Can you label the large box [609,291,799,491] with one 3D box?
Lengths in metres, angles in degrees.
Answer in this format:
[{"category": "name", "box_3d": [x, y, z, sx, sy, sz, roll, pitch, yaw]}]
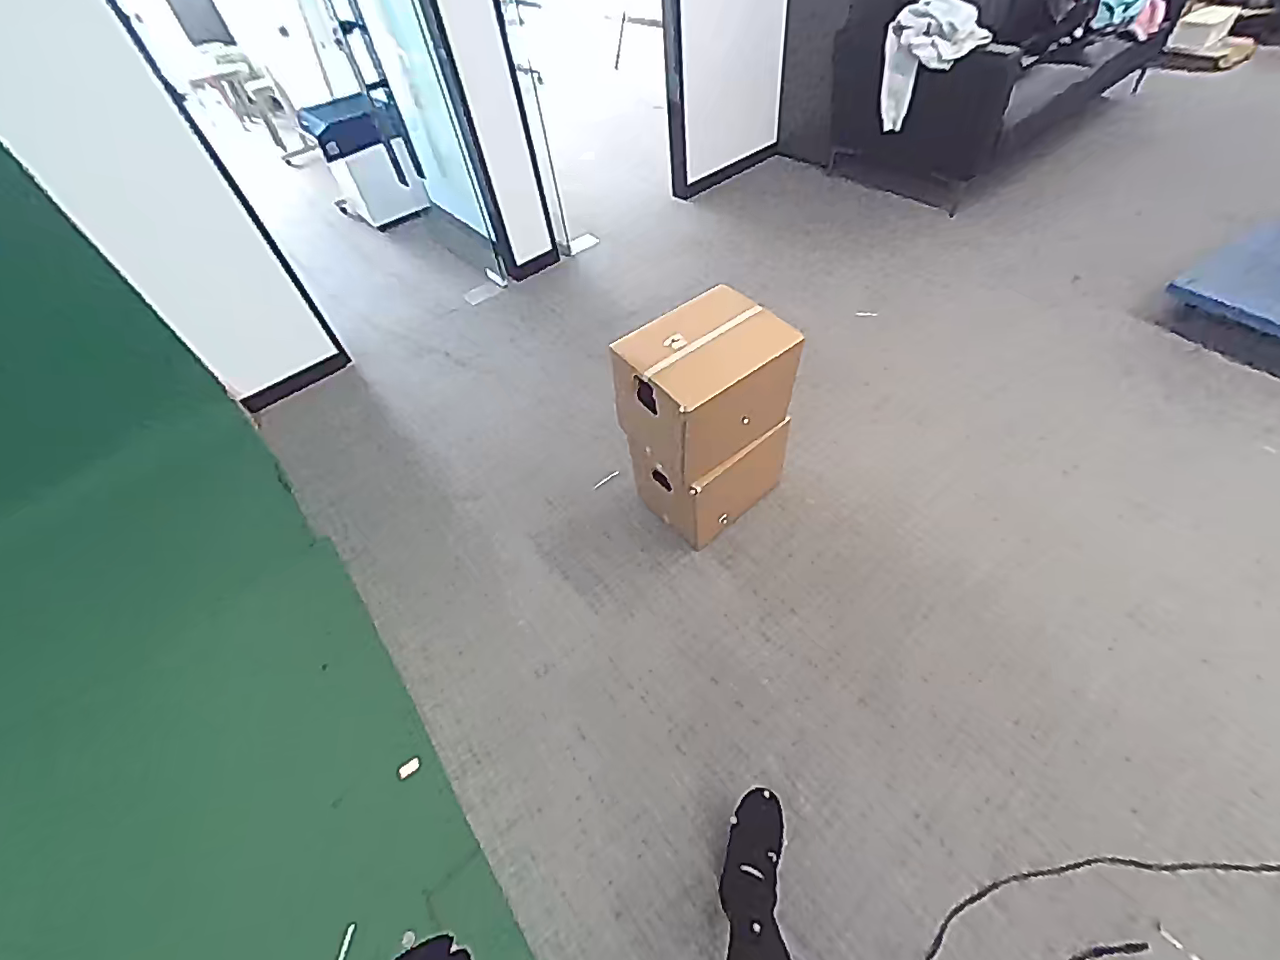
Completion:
[{"category": "large box", "box_3d": [0.174, -0.249, 1.509, 0.408, 0.320, 0.320, -34, 58, -19]}]
